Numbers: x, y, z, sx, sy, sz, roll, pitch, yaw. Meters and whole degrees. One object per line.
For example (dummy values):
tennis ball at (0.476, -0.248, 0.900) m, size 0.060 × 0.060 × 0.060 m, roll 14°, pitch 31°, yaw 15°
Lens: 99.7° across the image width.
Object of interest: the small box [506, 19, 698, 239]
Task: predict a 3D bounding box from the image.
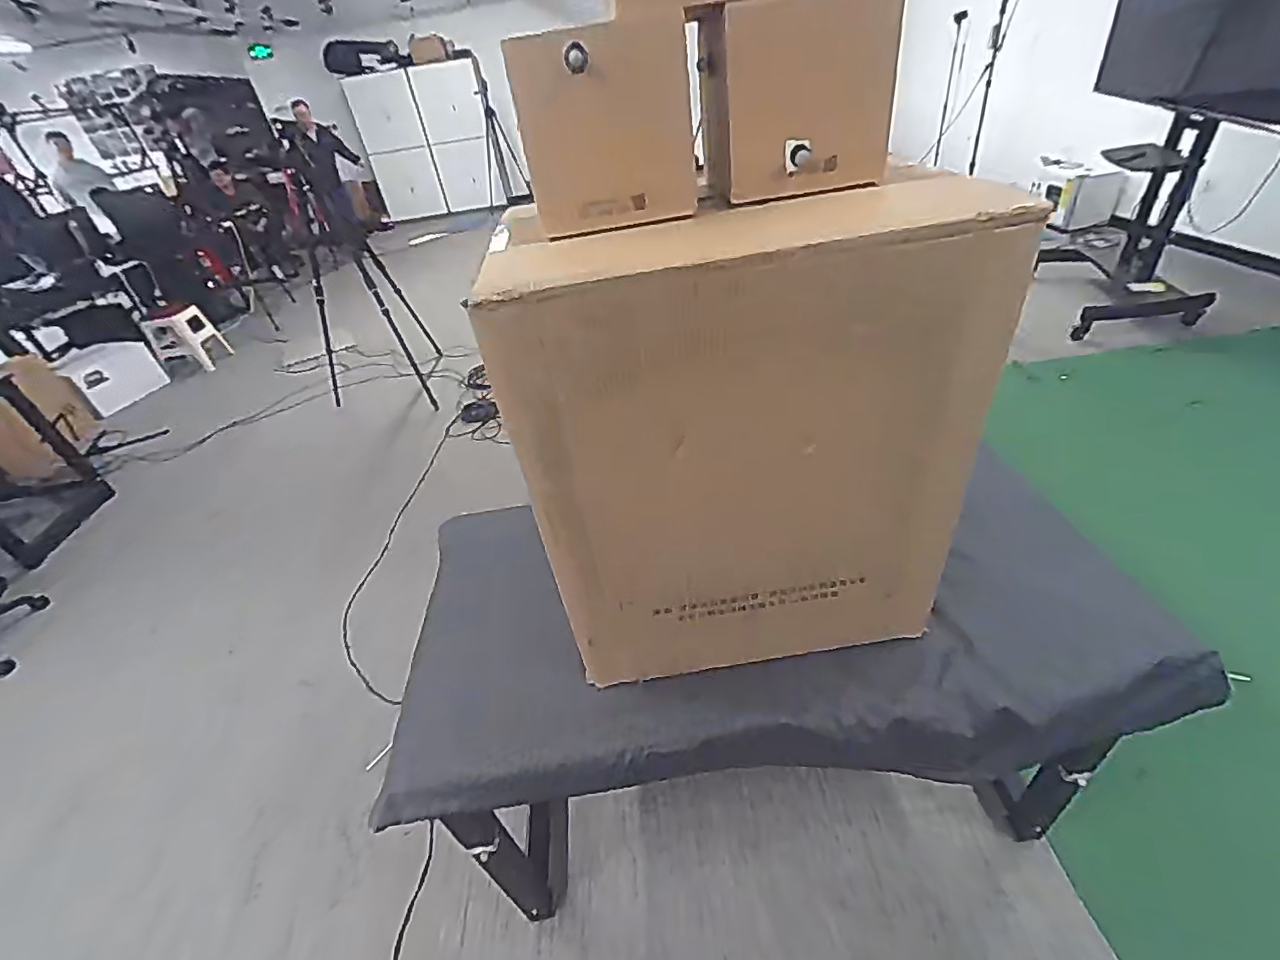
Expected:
small box at (-0.034, -0.377, 0.597) m, size 0.168 × 0.176 × 0.179 m, roll -10°, pitch 35°, yaw 2°
